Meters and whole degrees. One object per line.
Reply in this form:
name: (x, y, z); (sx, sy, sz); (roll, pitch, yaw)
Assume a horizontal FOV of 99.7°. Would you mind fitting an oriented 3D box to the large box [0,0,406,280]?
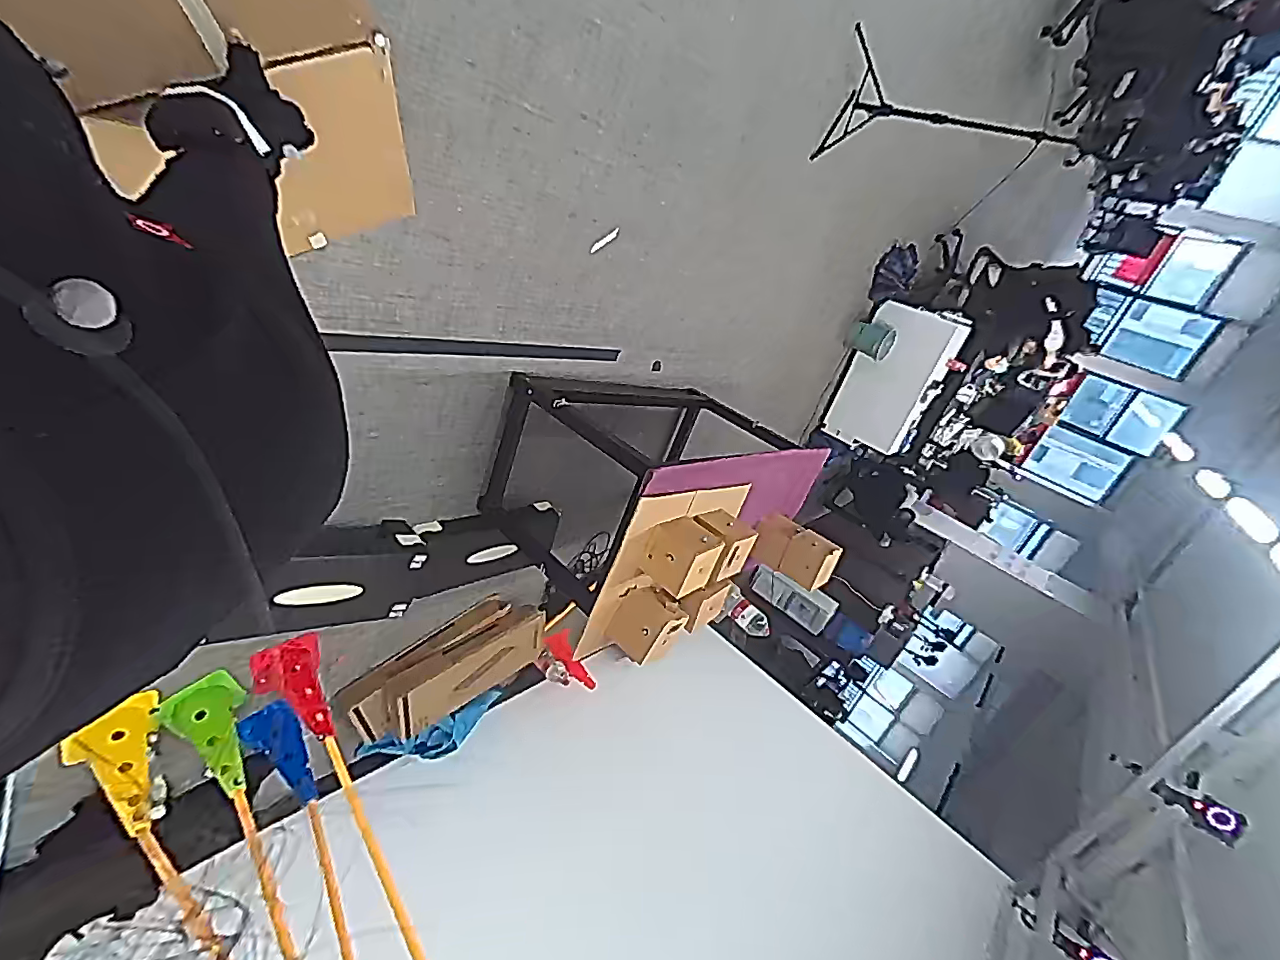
large box: (-0.549, -0.543, 0.671); (0.320, 0.408, 0.320); (-31, -177, -18)
